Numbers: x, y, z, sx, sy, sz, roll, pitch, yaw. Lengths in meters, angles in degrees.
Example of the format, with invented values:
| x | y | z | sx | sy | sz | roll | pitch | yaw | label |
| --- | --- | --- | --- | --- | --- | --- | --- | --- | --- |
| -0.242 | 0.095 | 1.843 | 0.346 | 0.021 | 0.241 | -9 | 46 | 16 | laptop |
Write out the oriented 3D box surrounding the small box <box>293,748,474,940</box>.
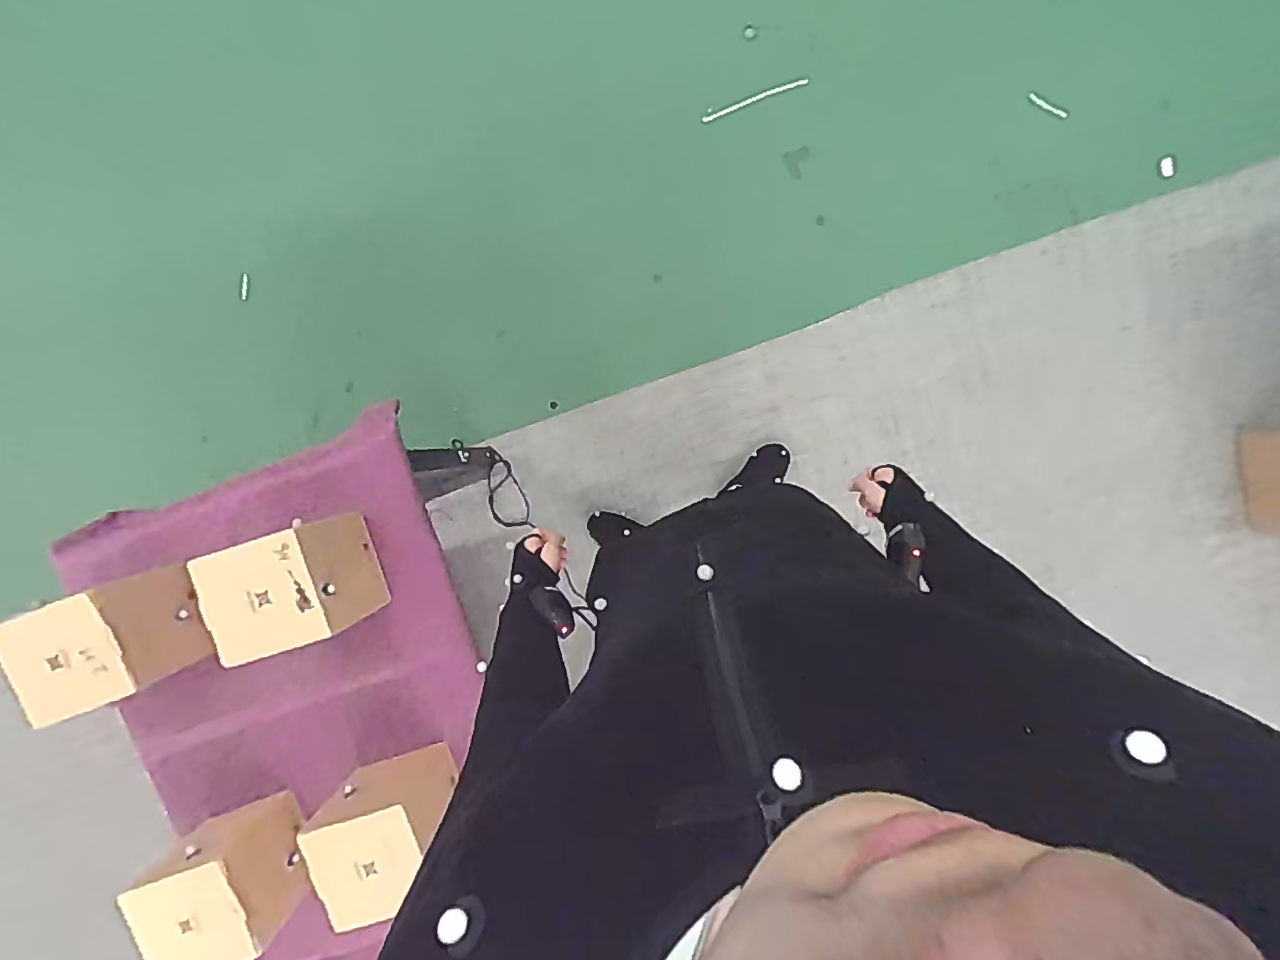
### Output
| x | y | z | sx | sy | sz | roll | pitch | yaw | label |
| --- | --- | --- | --- | --- | --- | --- | --- | --- | --- |
| -0.395 | 0.566 | 0.862 | 0.179 | 0.176 | 0.168 | -19 | 94 | 4 | small box |

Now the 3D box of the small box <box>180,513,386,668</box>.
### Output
| x | y | z | sx | sy | sz | roll | pitch | yaw | label |
| --- | --- | --- | --- | --- | --- | --- | --- | --- | --- |
| -0.535 | 0.161 | 0.835 | 0.179 | 0.176 | 0.168 | -17 | 95 | 5 | small box |

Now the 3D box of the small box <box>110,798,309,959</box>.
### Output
| x | y | z | sx | sy | sz | roll | pitch | yaw | label |
| --- | --- | --- | --- | --- | --- | --- | --- | --- | --- |
| -0.675 | 0.665 | 0.879 | 0.179 | 0.176 | 0.168 | -21 | 93 | 2 | small box |

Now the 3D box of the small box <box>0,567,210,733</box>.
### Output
| x | y | z | sx | sy | sz | roll | pitch | yaw | label |
| --- | --- | --- | --- | --- | --- | --- | --- | --- | --- |
| -0.838 | 0.255 | 0.849 | 0.179 | 0.176 | 0.168 | -20 | 96 | 2 | small box |
